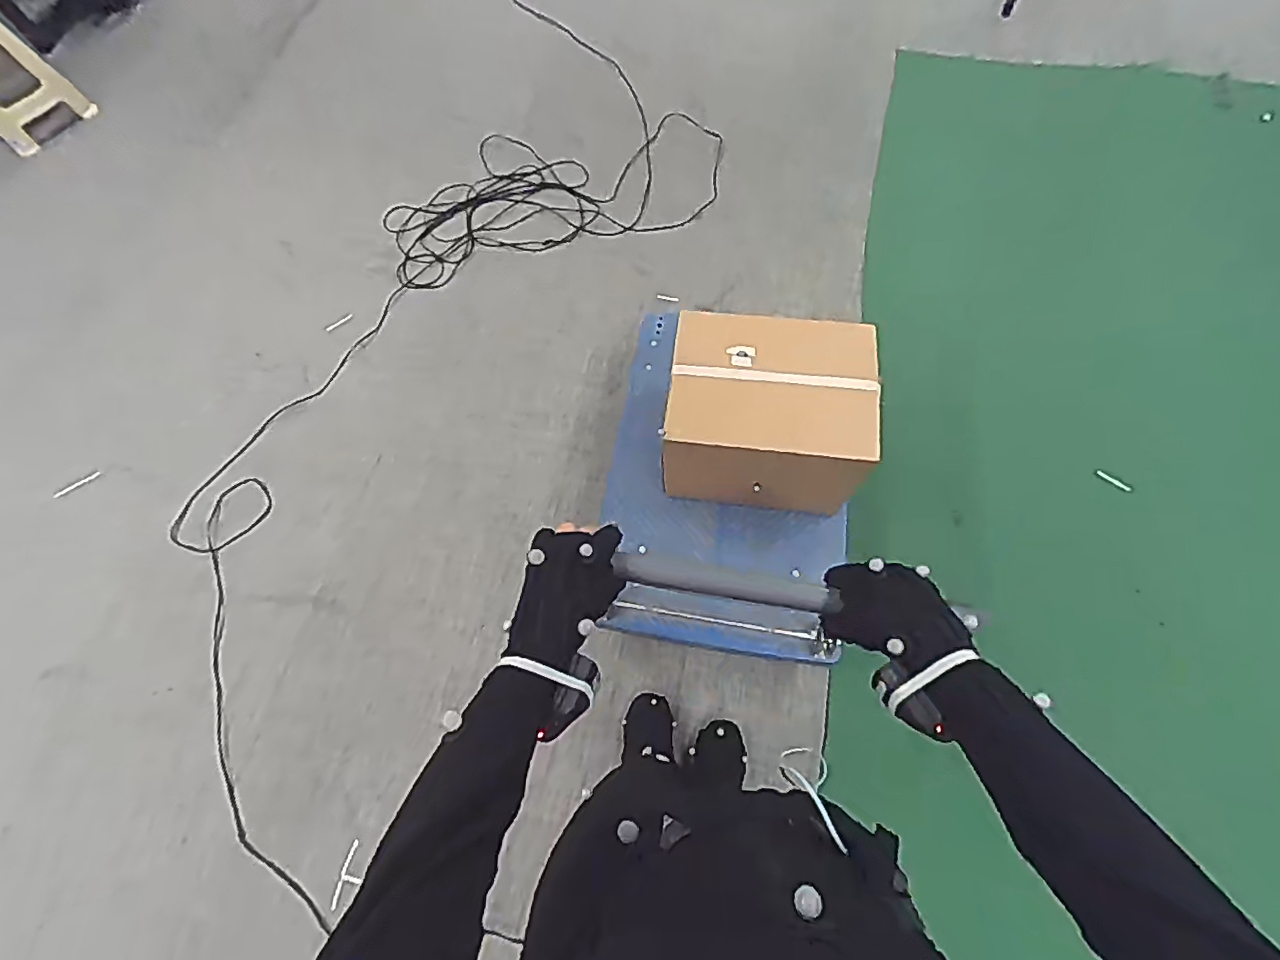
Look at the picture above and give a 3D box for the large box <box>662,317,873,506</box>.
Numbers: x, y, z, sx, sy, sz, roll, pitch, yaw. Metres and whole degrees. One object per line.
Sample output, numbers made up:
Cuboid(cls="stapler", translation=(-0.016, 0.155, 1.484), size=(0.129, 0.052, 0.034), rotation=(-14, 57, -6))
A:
Cuboid(cls="large box", translation=(0.269, -0.142, 1.222), size=(0.408, 0.320, 0.320), rotation=(5, 68, 7))
